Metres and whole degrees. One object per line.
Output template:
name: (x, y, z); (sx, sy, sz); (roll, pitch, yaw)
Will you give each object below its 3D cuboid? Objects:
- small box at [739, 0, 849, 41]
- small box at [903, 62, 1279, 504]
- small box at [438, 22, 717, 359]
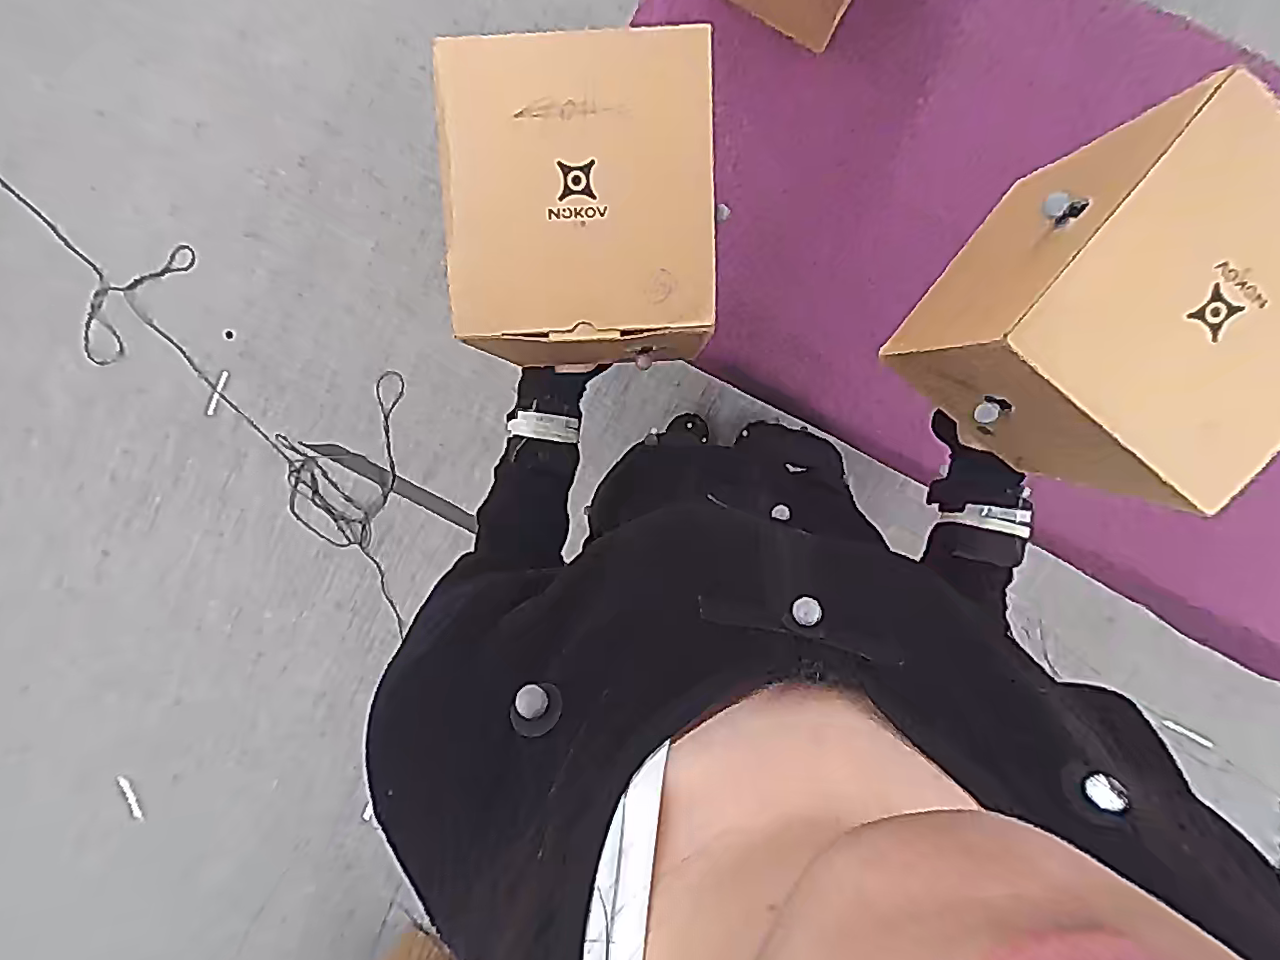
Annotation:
small box: (0.189, -0.642, 0.590); (0.179, 0.176, 0.168); (29, 99, -2)
small box: (0.317, -0.112, 0.373); (0.168, 0.176, 0.179); (37, 97, -5)
small box: (-0.034, -0.187, 0.405); (0.168, 0.176, 0.179); (-2, 96, 1)
